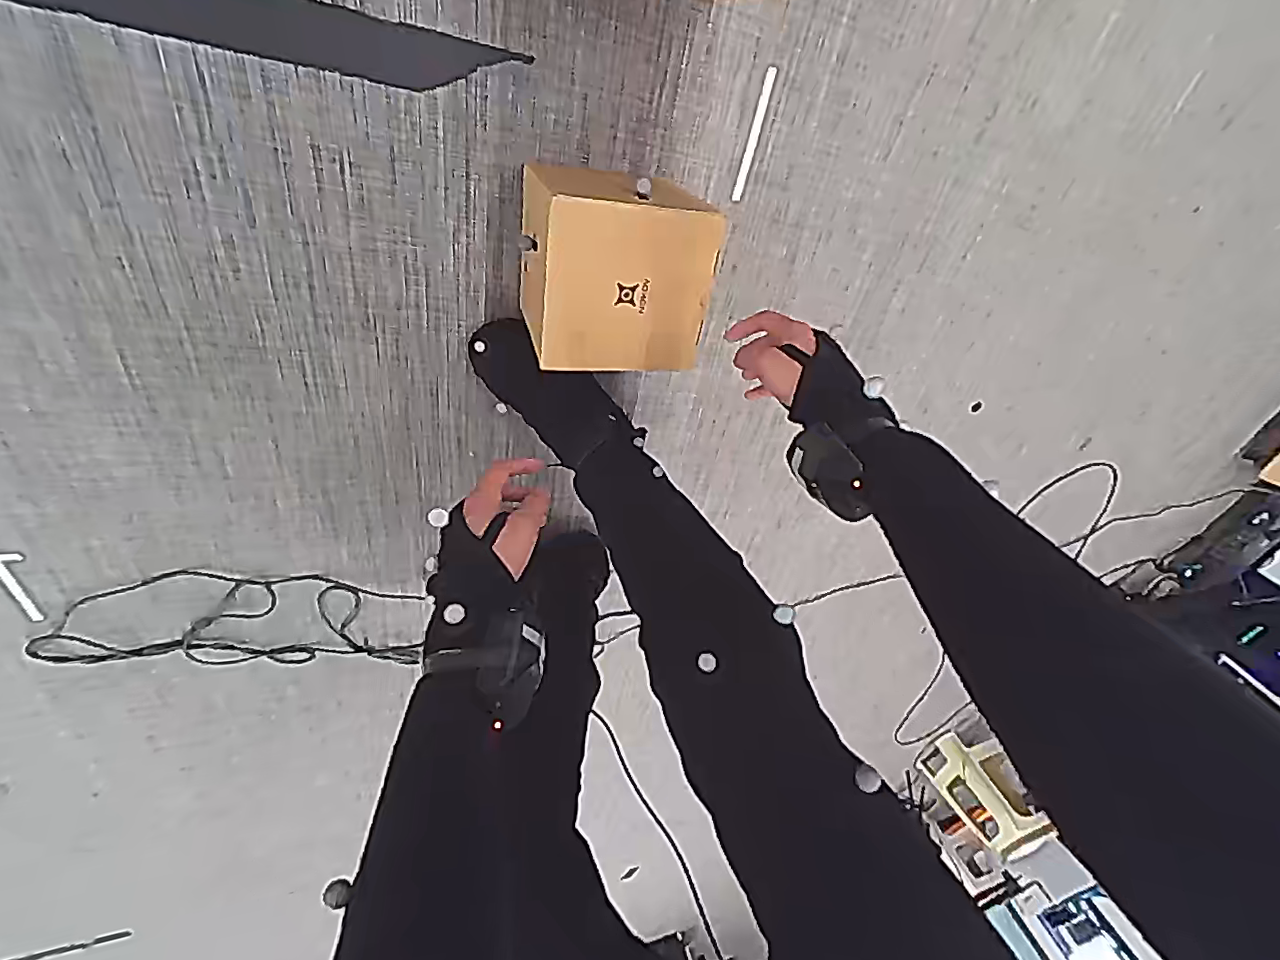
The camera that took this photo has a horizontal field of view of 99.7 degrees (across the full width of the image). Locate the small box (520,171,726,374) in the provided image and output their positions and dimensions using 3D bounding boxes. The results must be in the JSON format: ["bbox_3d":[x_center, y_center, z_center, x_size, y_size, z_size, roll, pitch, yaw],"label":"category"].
[{"bbox_3d":[-0.035,-0.231,0.600,0.179,0.176,0.168,-4,129,-20],"label":"small box"}]
